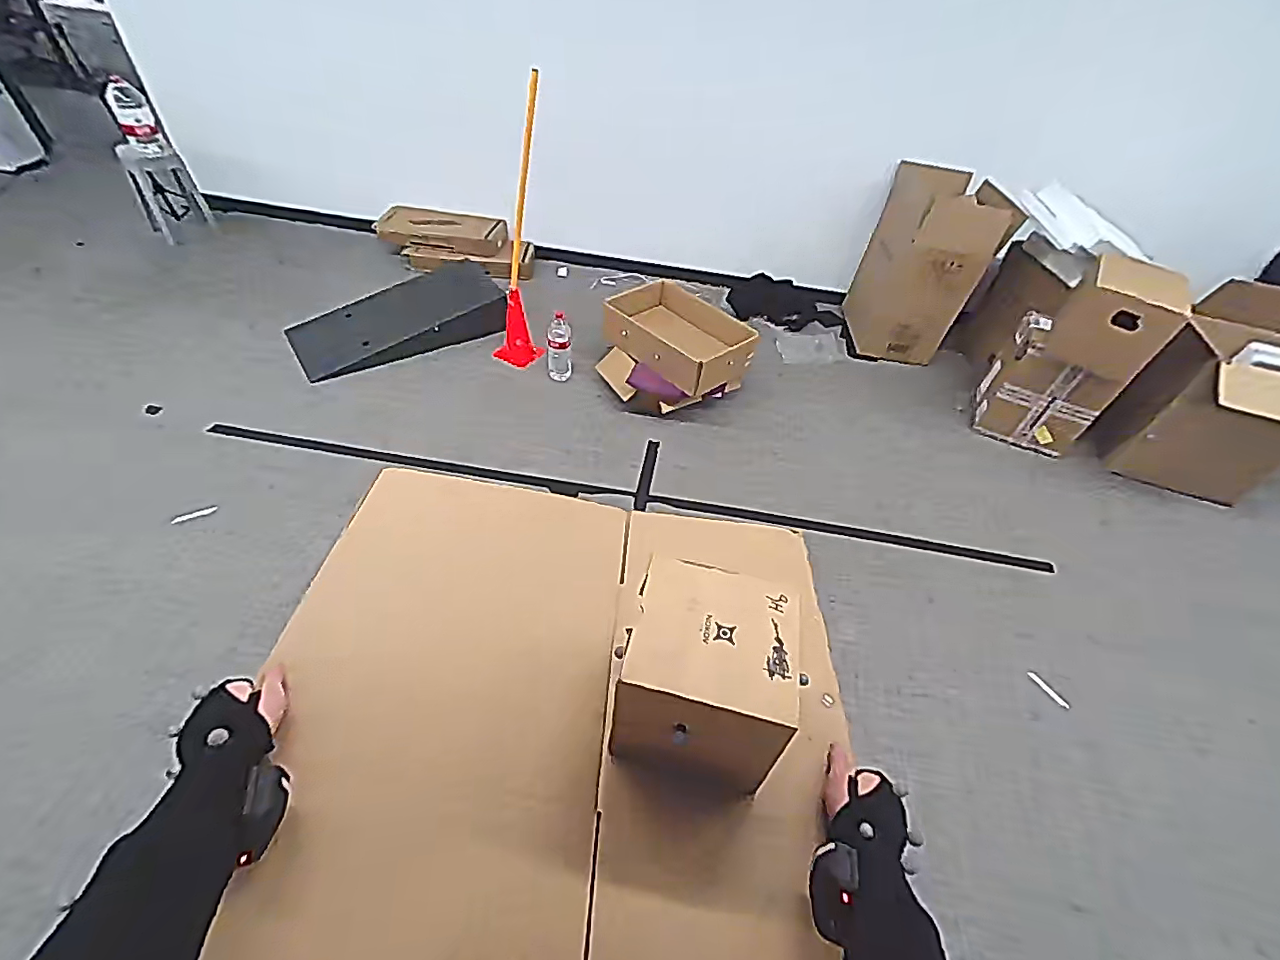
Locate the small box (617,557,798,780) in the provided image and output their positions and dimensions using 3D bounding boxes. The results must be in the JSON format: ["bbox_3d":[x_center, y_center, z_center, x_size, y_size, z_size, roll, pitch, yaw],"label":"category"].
[{"bbox_3d":[0.075,0.219,0.628,0.179,0.176,0.168,12,43,7],"label":"small box"}]
